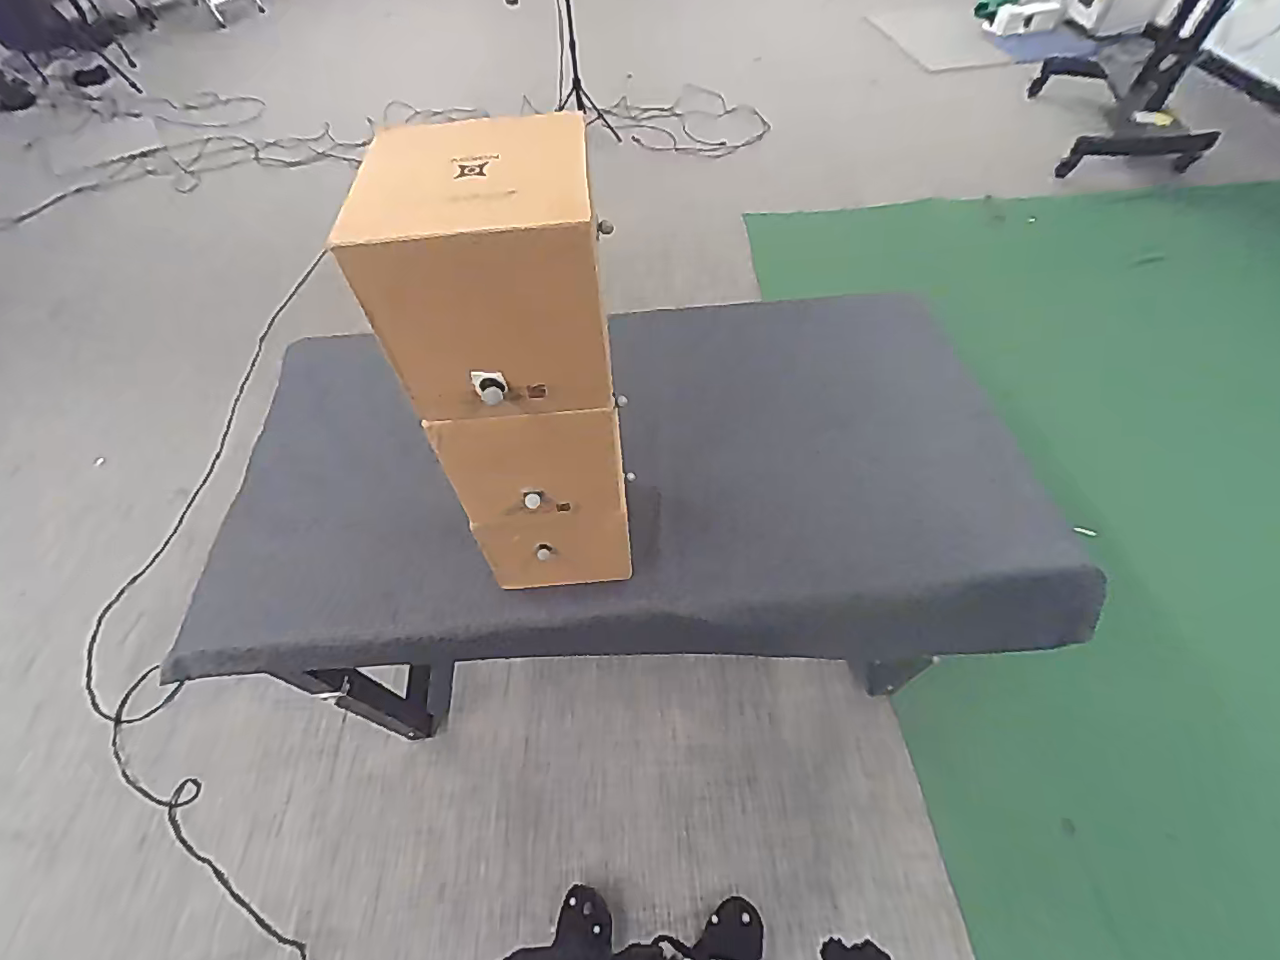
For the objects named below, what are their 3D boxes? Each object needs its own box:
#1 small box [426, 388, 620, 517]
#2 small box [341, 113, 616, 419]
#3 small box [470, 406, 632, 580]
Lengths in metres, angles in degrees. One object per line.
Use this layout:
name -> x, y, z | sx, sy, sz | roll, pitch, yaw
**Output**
small box -> -0.108, -0.079, 0.582 | 0.168, 0.176, 0.179 | -3, 54, -1
small box -> -0.111, -0.174, 0.452 | 0.168, 0.176, 0.179 | -6, 55, -1
small box -> -0.106, 0.022, 0.713 | 0.179, 0.176, 0.168 | -4, 54, -1
